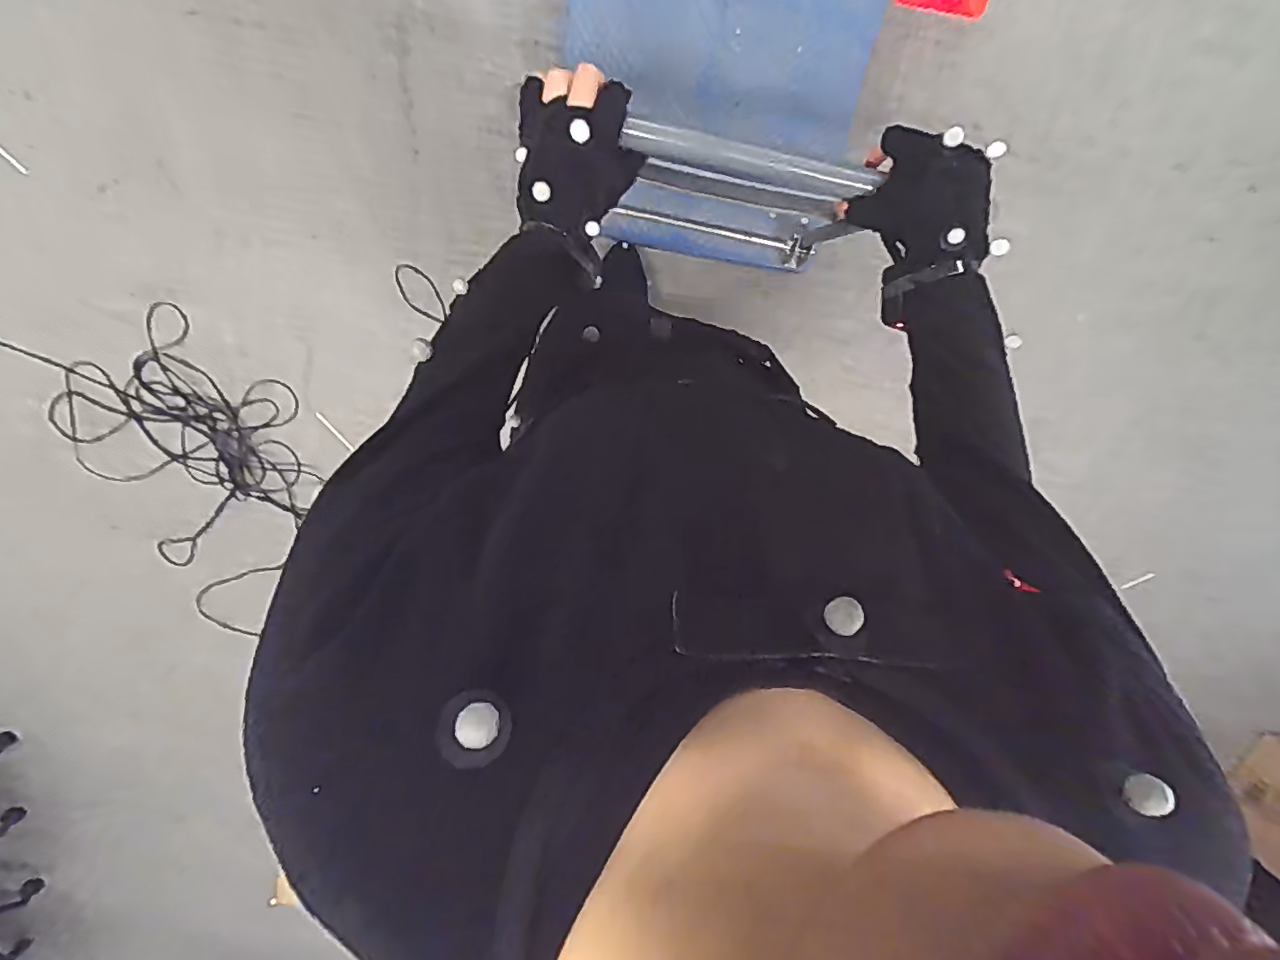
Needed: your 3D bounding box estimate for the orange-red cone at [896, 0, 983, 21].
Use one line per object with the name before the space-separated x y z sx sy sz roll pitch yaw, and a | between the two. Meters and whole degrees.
orange-red cone | 0.639 -1.024 0.960 0.199 0.360 0.198 9 110 -3
